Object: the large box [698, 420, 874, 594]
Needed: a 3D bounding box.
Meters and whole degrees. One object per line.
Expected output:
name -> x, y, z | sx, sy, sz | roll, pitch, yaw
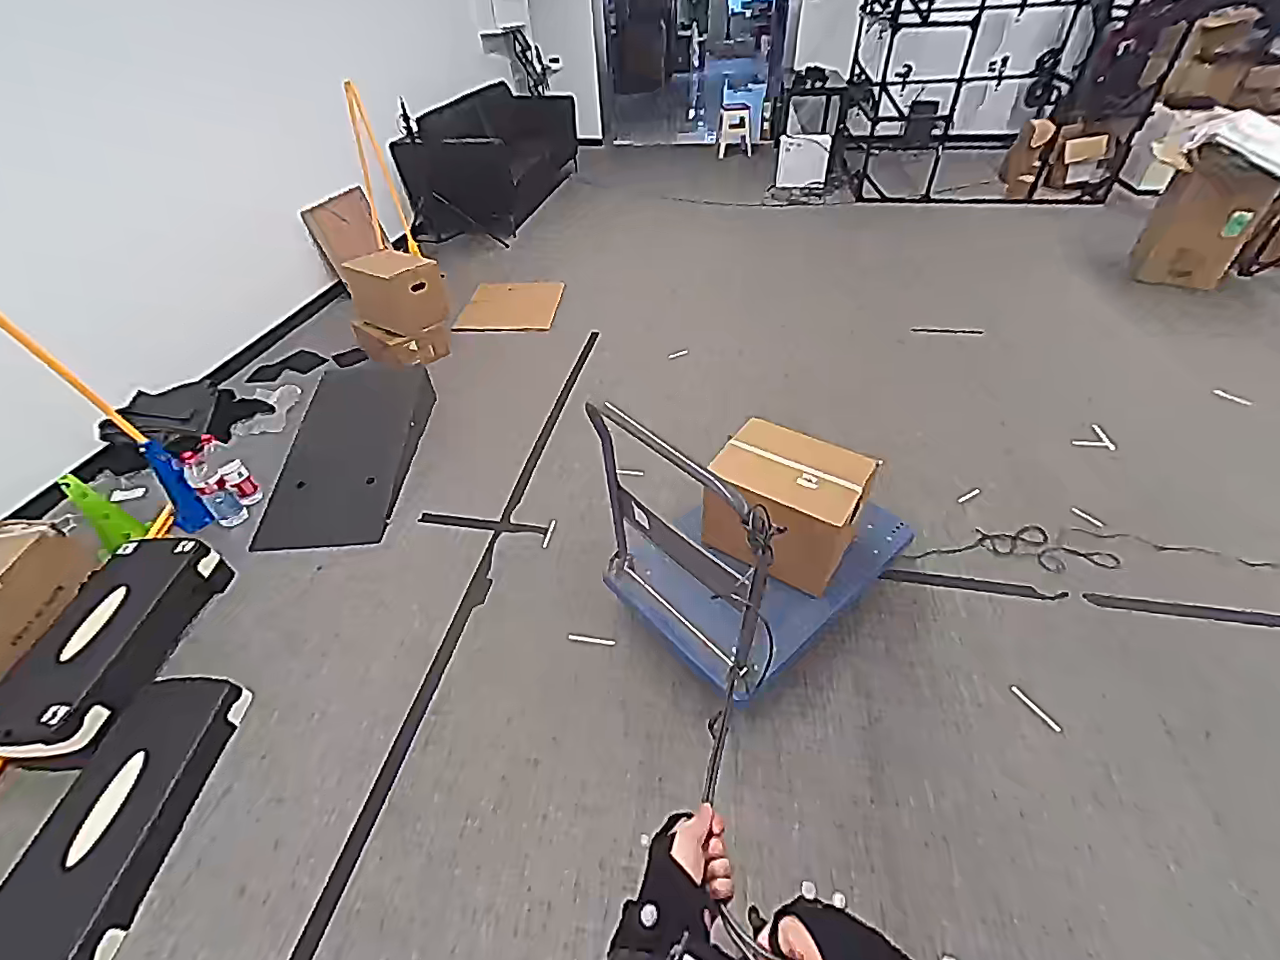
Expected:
large box -> 0.428, 0.073, 1.645 | 0.408, 0.320, 0.320 | 24, 49, 25
